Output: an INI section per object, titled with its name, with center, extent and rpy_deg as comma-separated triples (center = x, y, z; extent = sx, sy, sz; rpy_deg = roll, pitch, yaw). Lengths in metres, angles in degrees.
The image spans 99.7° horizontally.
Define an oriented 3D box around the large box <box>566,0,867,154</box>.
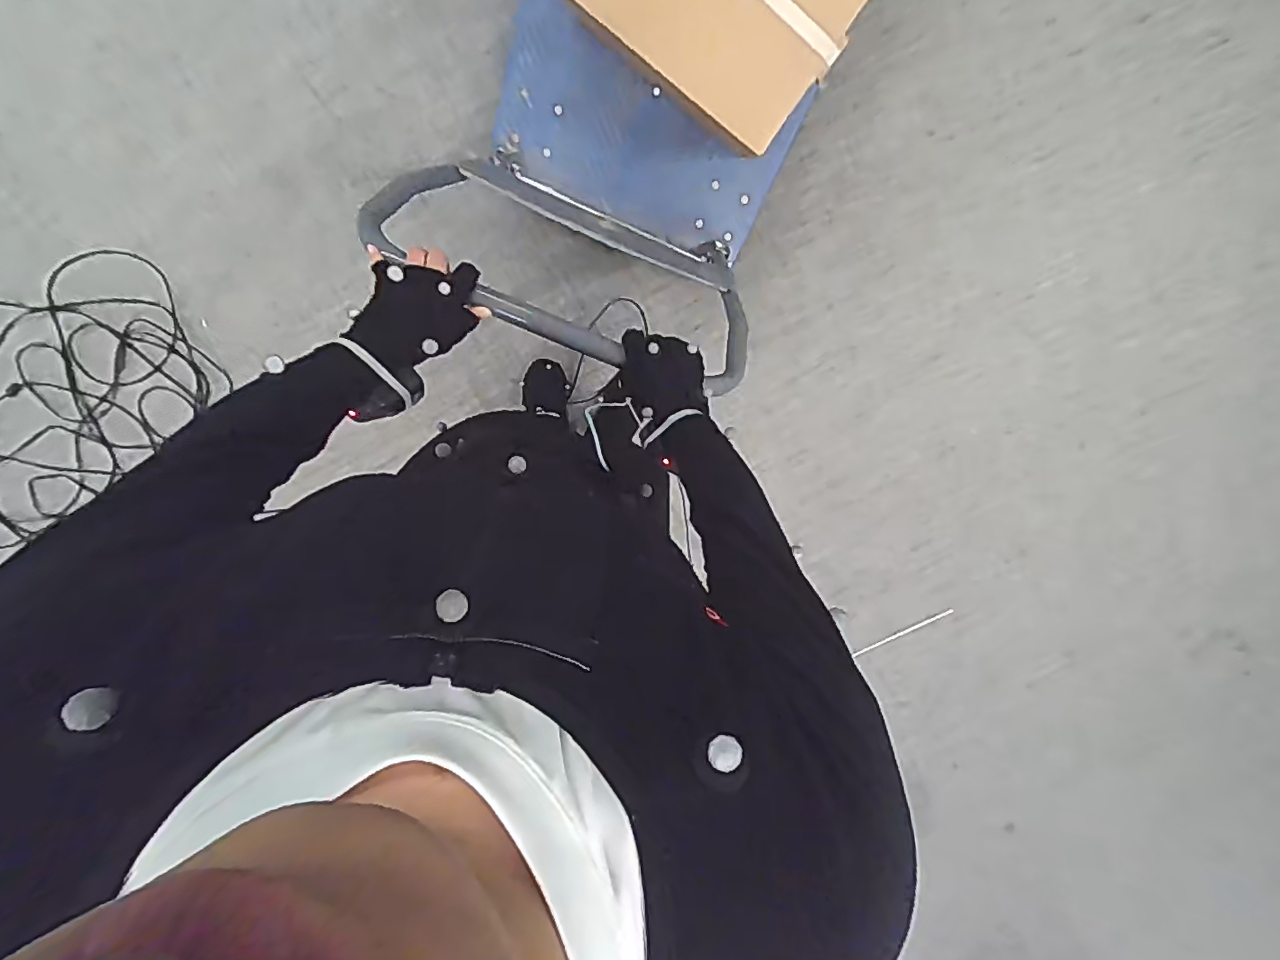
[large box]
center = 0.125, -0.798, 0.874
extent = 0.408, 0.320, 0.320
rpy_deg = 32, 118, -14
